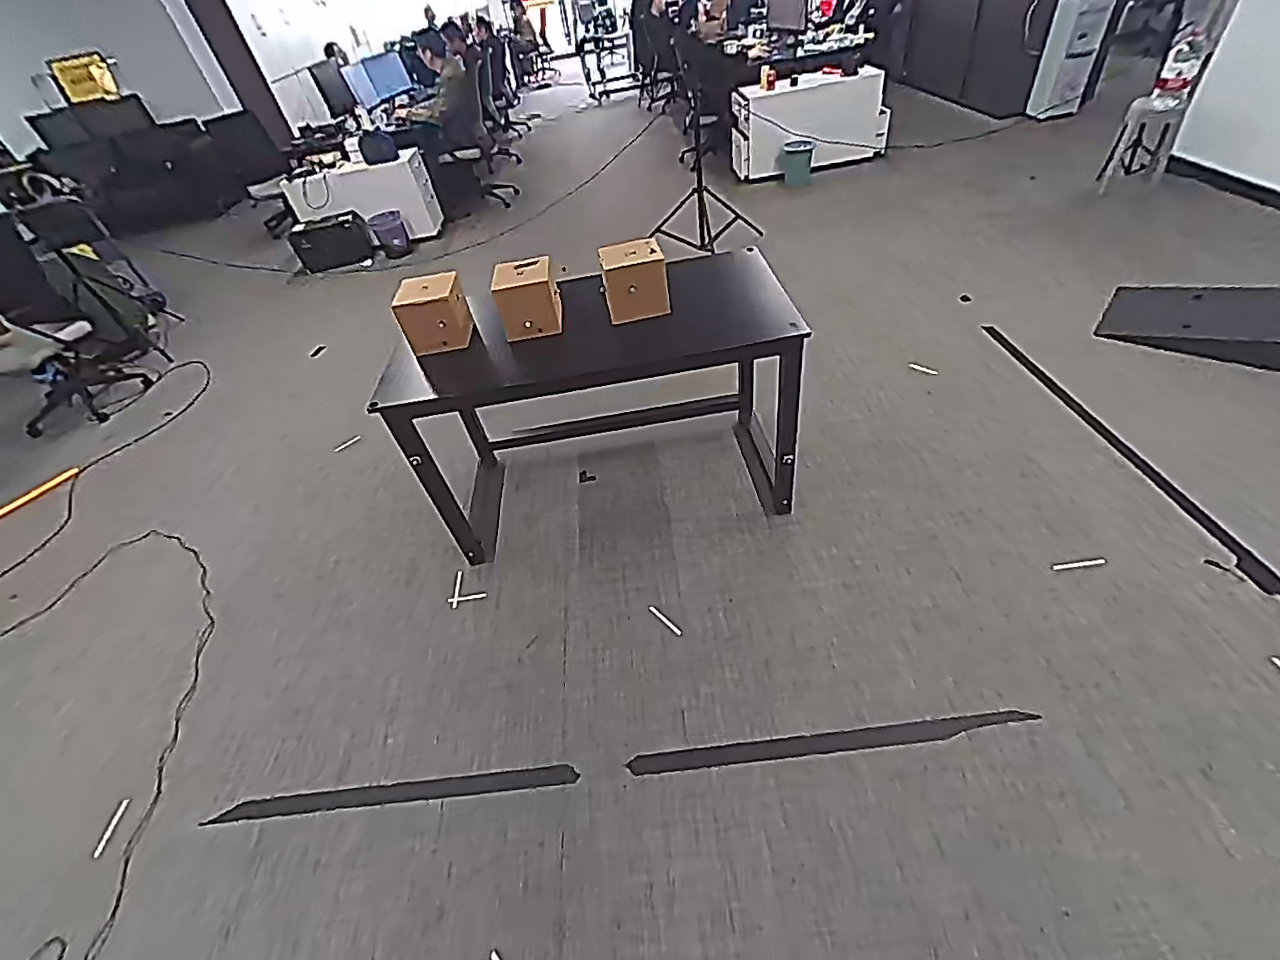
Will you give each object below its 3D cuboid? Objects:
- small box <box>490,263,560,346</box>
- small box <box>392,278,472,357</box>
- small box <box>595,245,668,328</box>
[{"bbox_3d":[-0.339,-0.527,1.626,0.168,0.176,0.179,-10,44,1],"label":"small box"},{"bbox_3d":[-0.623,-0.486,1.641,0.168,0.176,0.179,-10,43,-1],"label":"small box"},{"bbox_3d":[-0.025,-0.574,1.613,0.179,0.176,0.168,-13,44,-1],"label":"small box"}]
